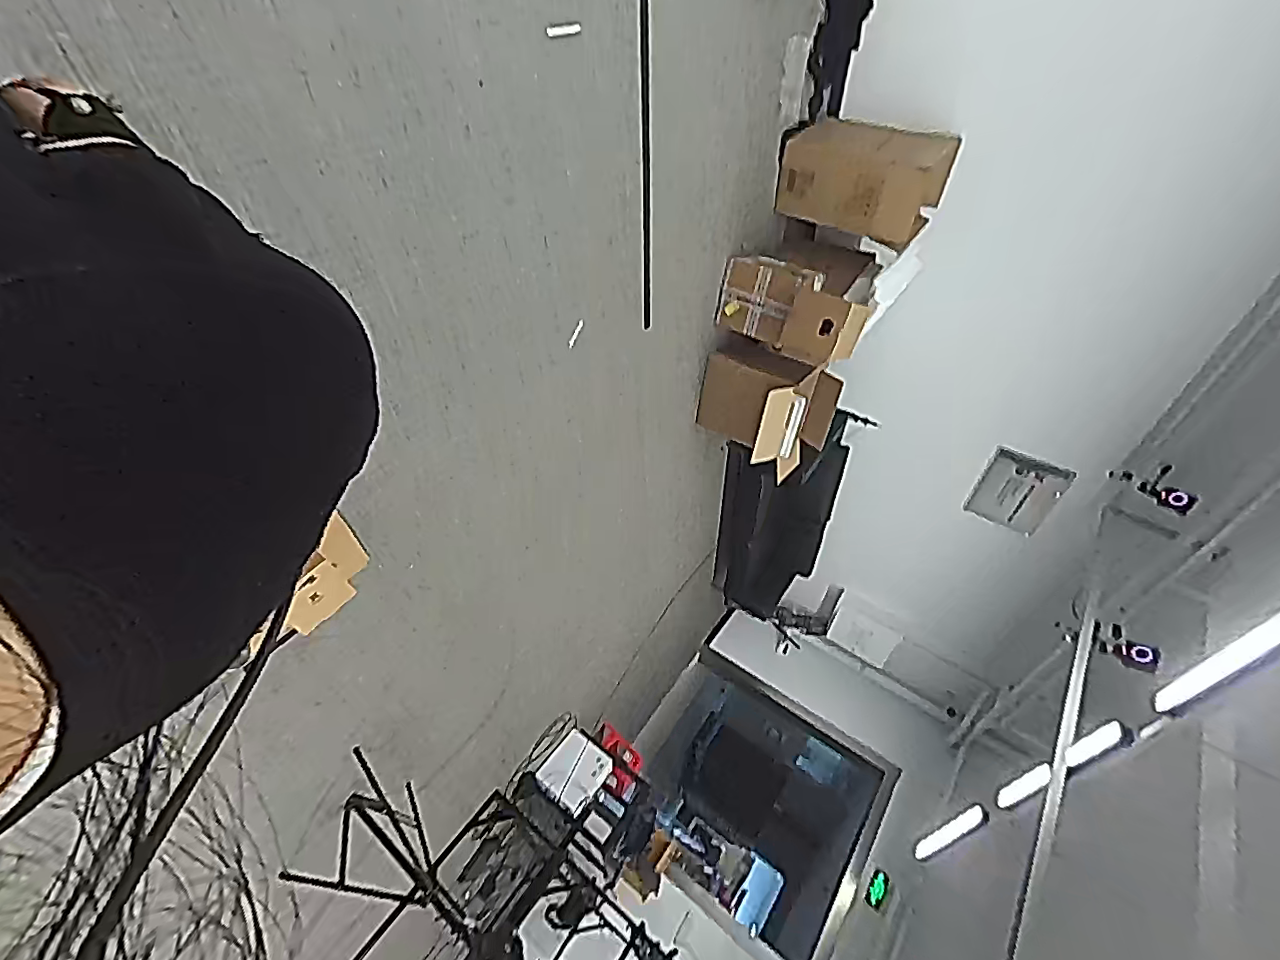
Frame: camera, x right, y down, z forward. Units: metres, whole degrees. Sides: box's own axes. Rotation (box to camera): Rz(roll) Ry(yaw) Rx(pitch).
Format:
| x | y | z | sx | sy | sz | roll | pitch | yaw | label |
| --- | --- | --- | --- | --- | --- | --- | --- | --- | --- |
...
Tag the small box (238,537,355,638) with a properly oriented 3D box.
| x | y | z | sx | sy | sz | roll | pitch | yaw | label |
| --- | --- | --- | --- | --- | --- | --- | --- | --- | --- |
| -0.917 | 0.284 | 1.451 | 0.168 | 0.176 | 0.179 | -47 | 150 | -30 | small box |
